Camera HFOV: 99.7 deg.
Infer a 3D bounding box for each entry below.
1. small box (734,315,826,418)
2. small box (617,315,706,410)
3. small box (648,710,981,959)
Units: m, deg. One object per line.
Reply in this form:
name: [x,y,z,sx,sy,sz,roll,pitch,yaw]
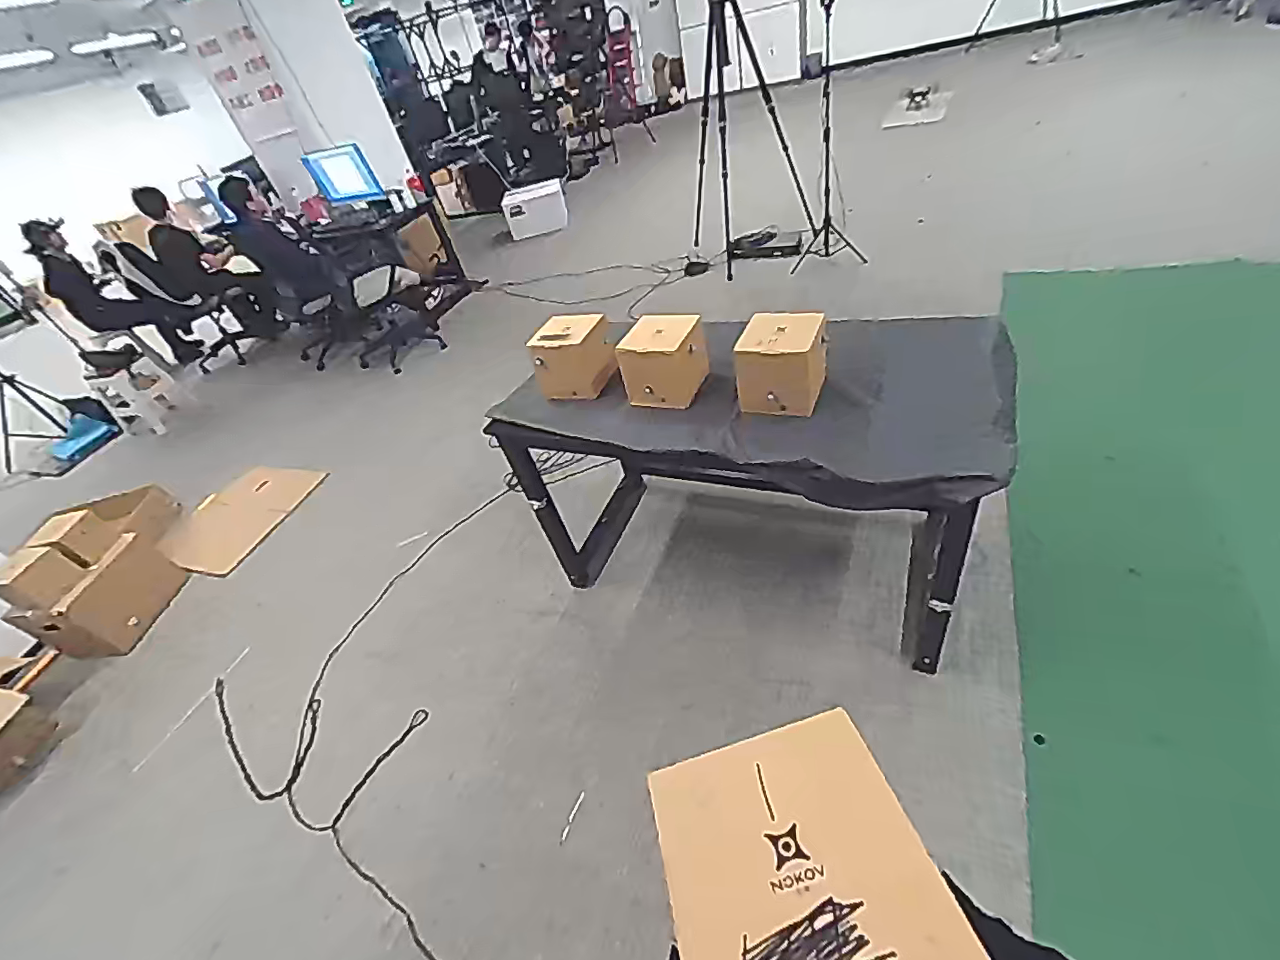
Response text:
small box: [0.329,-0.267,1.259,0.168,0.176,0.179,9,47,27]
small box: [0.063,-0.304,1.389,0.168,0.176,0.179,9,47,26]
small box: [0.118,0.312,0.394,0.168,0.176,0.179,-18,32,0]
